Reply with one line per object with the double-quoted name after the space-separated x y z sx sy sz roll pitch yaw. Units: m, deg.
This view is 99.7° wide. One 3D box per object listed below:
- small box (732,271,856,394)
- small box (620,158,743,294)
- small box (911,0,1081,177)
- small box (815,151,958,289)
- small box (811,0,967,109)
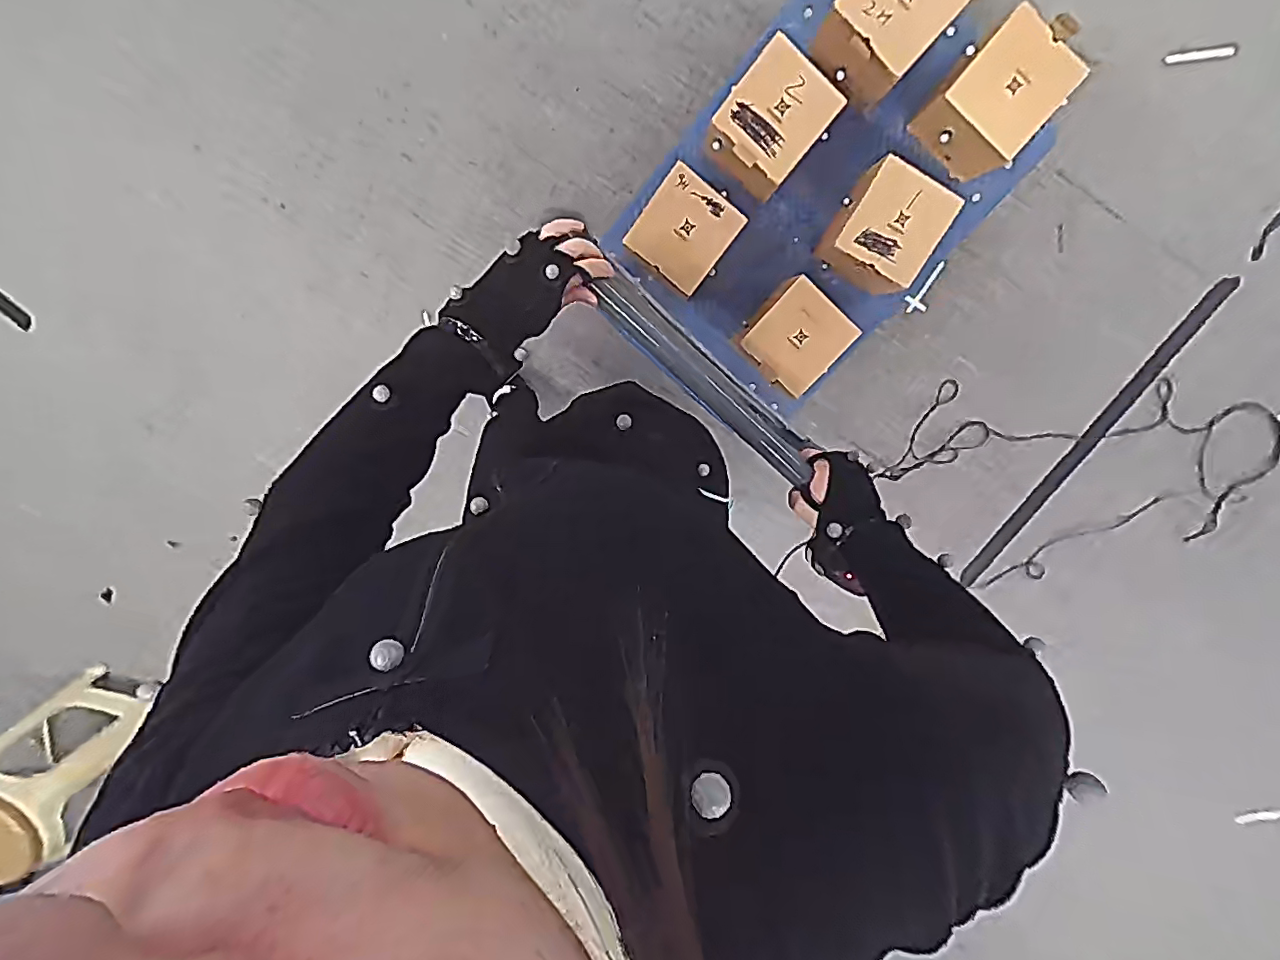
0.308 -0.304 1.129 0.168 0.176 0.179 41 103 -10 "small box"
0.081 -0.492 1.081 0.168 0.176 0.179 37 105 -9 "small box"
0.635 -0.701 0.998 0.168 0.176 0.179 38 104 -8 "small box"
0.468 -0.496 1.064 0.168 0.176 0.179 29 105 -6 "small box"
0.437 -0.823 0.968 0.168 0.176 0.179 43 104 -9 "small box"
